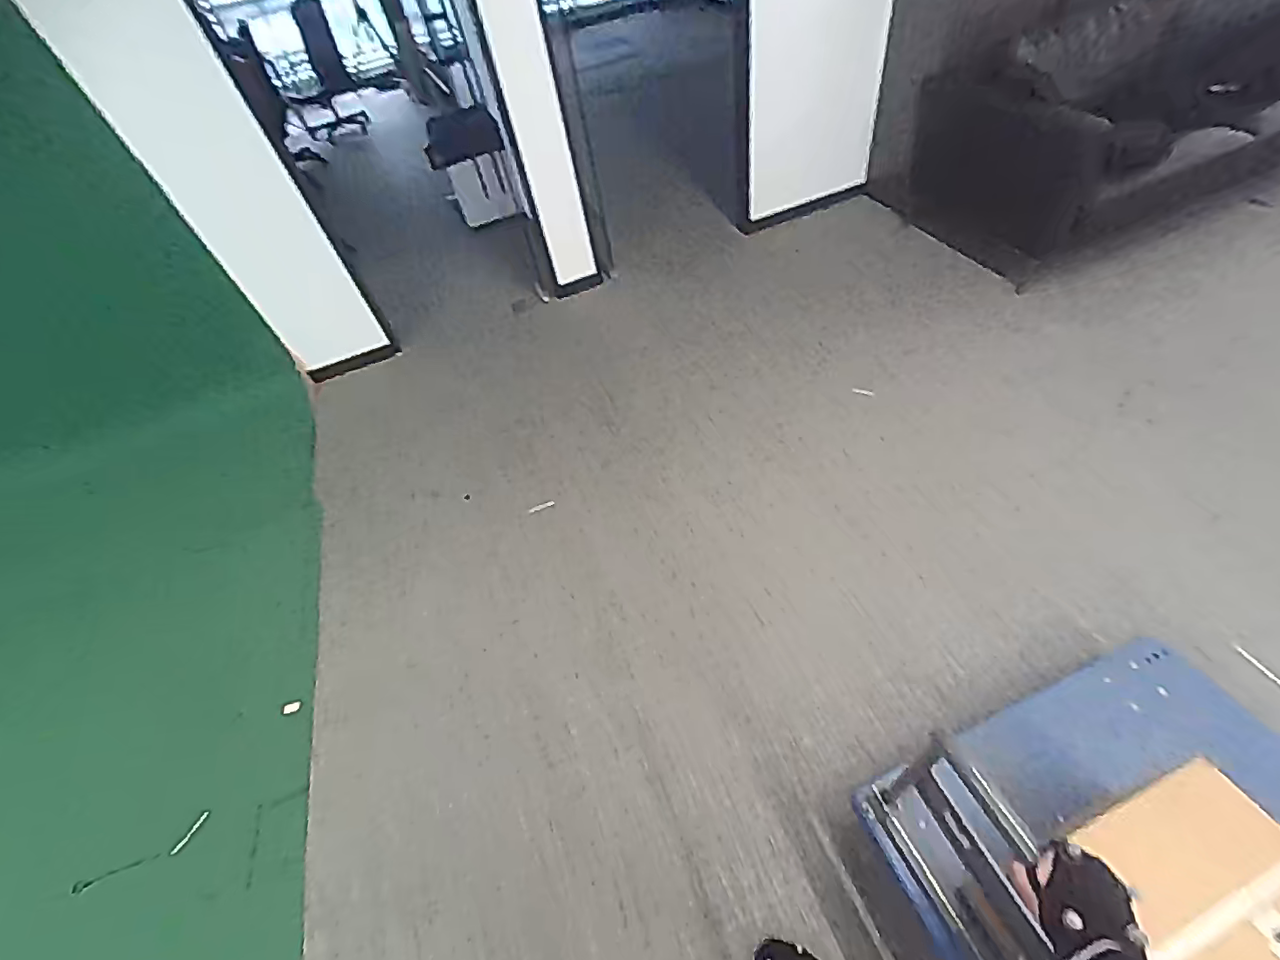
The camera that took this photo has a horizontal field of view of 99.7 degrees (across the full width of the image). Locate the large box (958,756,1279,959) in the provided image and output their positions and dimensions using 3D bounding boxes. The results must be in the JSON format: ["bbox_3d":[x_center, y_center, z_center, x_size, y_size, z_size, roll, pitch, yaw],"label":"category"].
[{"bbox_3d":[0.850,0.750,0.914,0.408,0.320,0.320,-23,50,-9],"label":"large box"}]
